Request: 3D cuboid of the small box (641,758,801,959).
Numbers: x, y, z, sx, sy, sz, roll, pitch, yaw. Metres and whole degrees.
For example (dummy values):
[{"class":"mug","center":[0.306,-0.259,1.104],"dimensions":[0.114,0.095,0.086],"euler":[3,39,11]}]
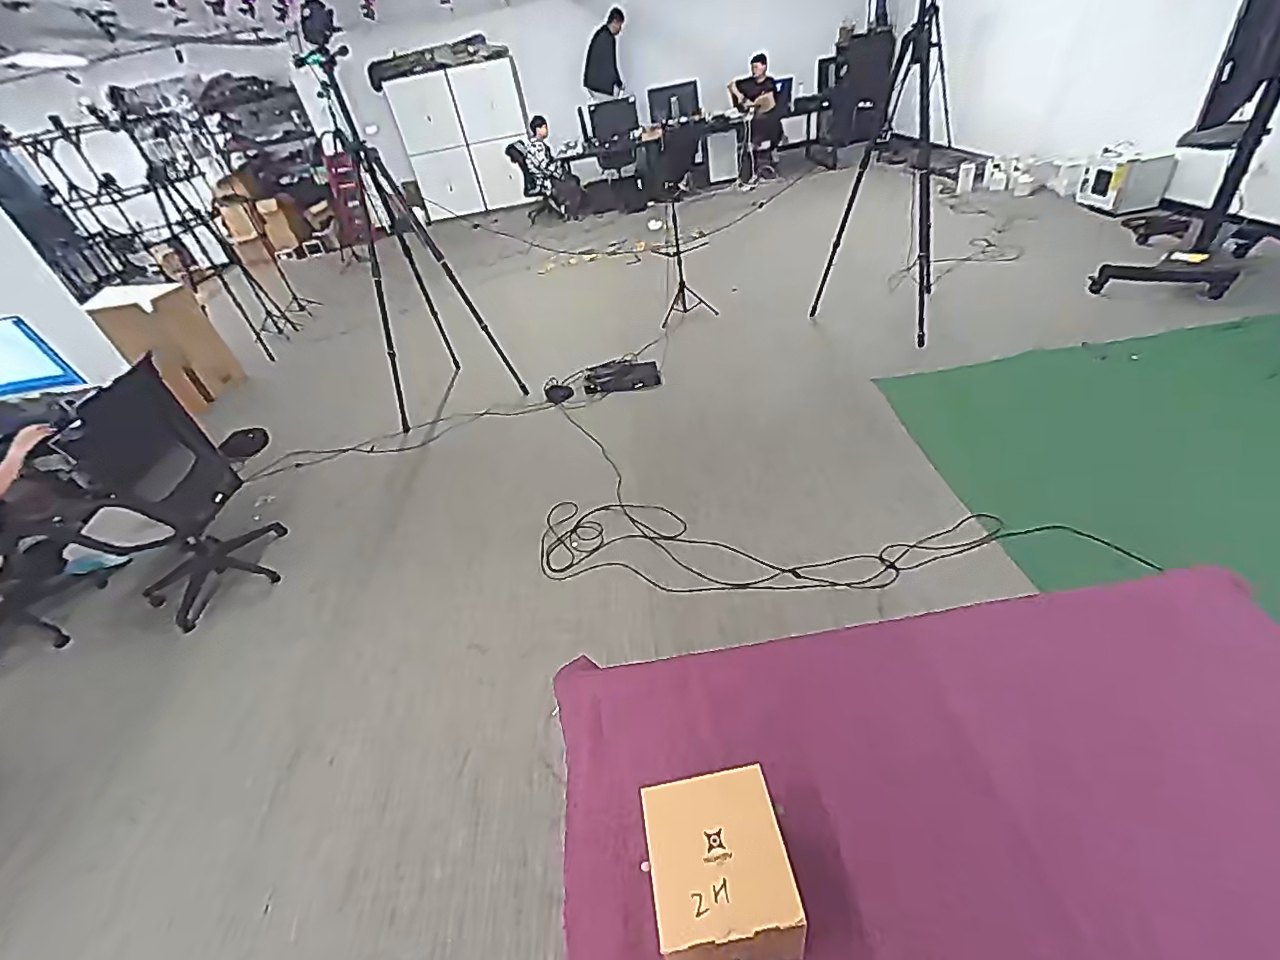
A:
[{"class":"small box","center":[0.101,0.504,0.712],"dimensions":[0.168,0.176,0.179],"euler":[-12,39,0]}]
